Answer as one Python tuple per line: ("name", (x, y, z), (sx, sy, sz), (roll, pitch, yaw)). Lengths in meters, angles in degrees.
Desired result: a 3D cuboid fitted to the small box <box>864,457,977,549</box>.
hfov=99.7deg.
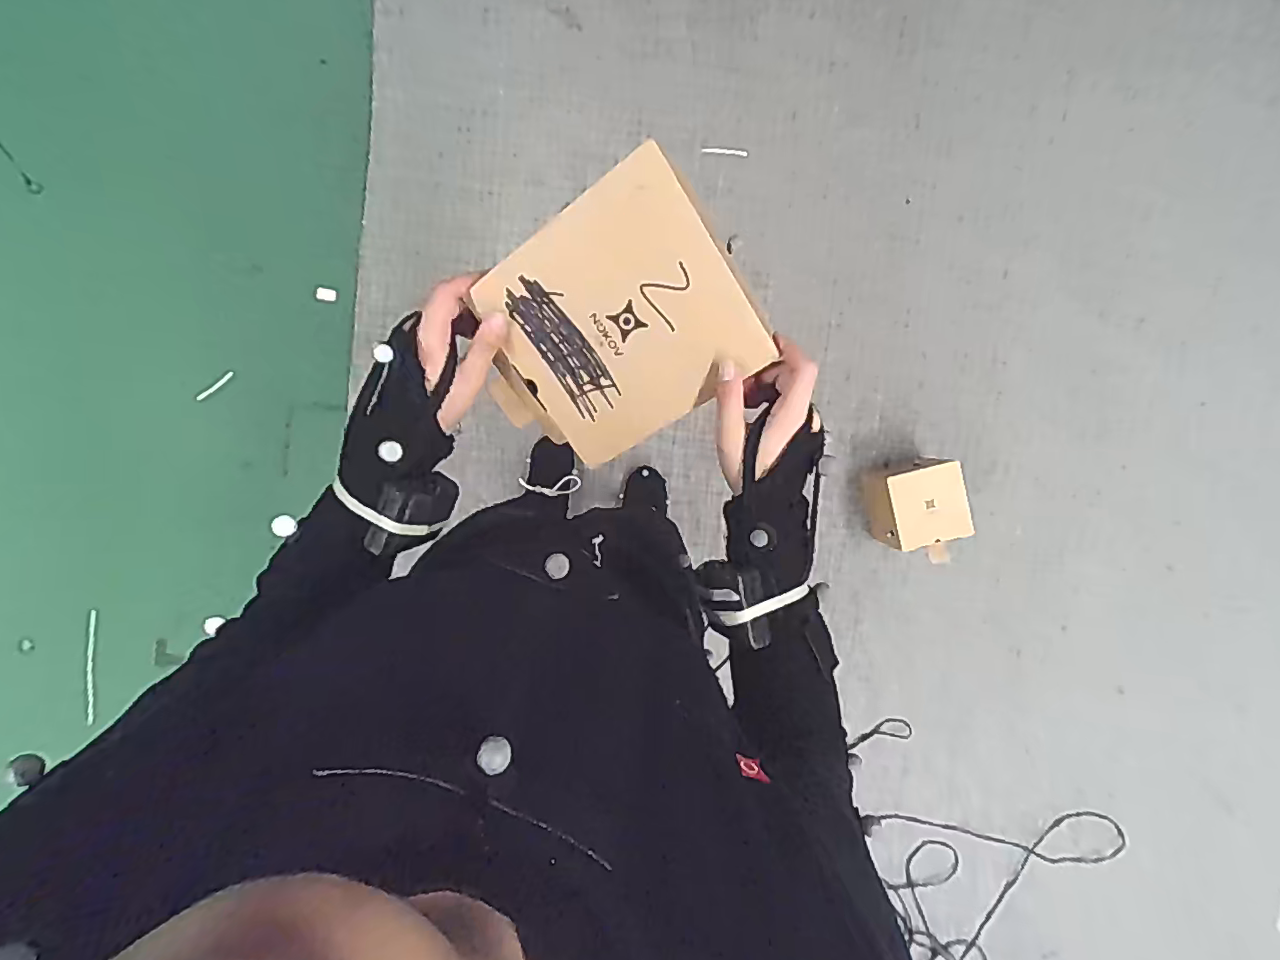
("small box", (0.649, 0.046, 1.273), (0.168, 0.176, 0.179), (-15, 95, 3))
